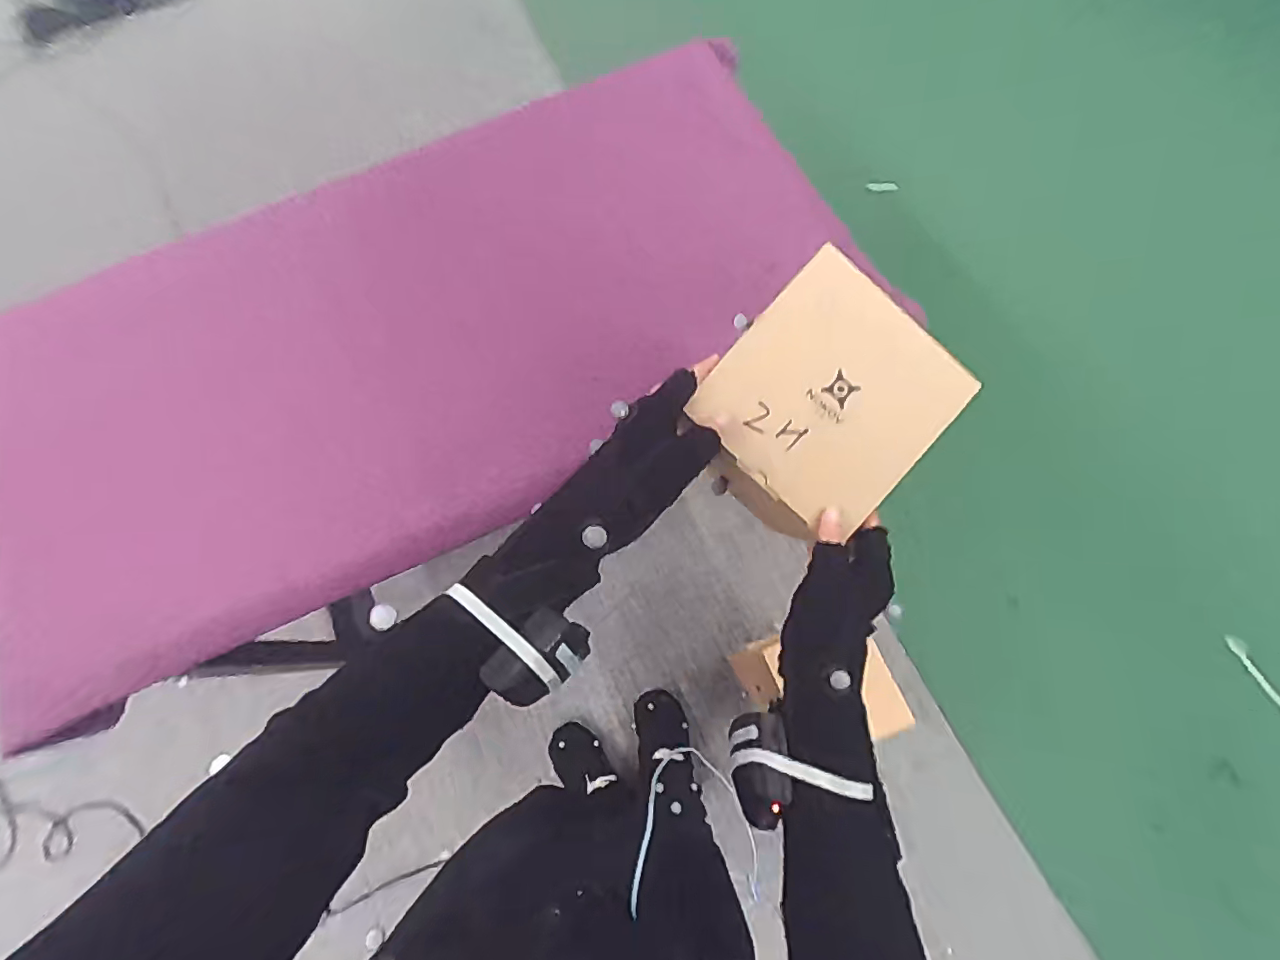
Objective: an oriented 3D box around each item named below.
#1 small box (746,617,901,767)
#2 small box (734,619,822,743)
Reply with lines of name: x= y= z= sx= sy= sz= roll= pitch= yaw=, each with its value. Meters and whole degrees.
small box: x=0.290 y=0.341 z=0.895 sx=0.168 sy=0.176 sz=0.179 roll=-21 pitch=72 yaw=-3
small box: x=0.294 y=0.383 z=1.052 sx=0.168 sy=0.176 sz=0.179 roll=-20 pitch=72 yaw=-2
